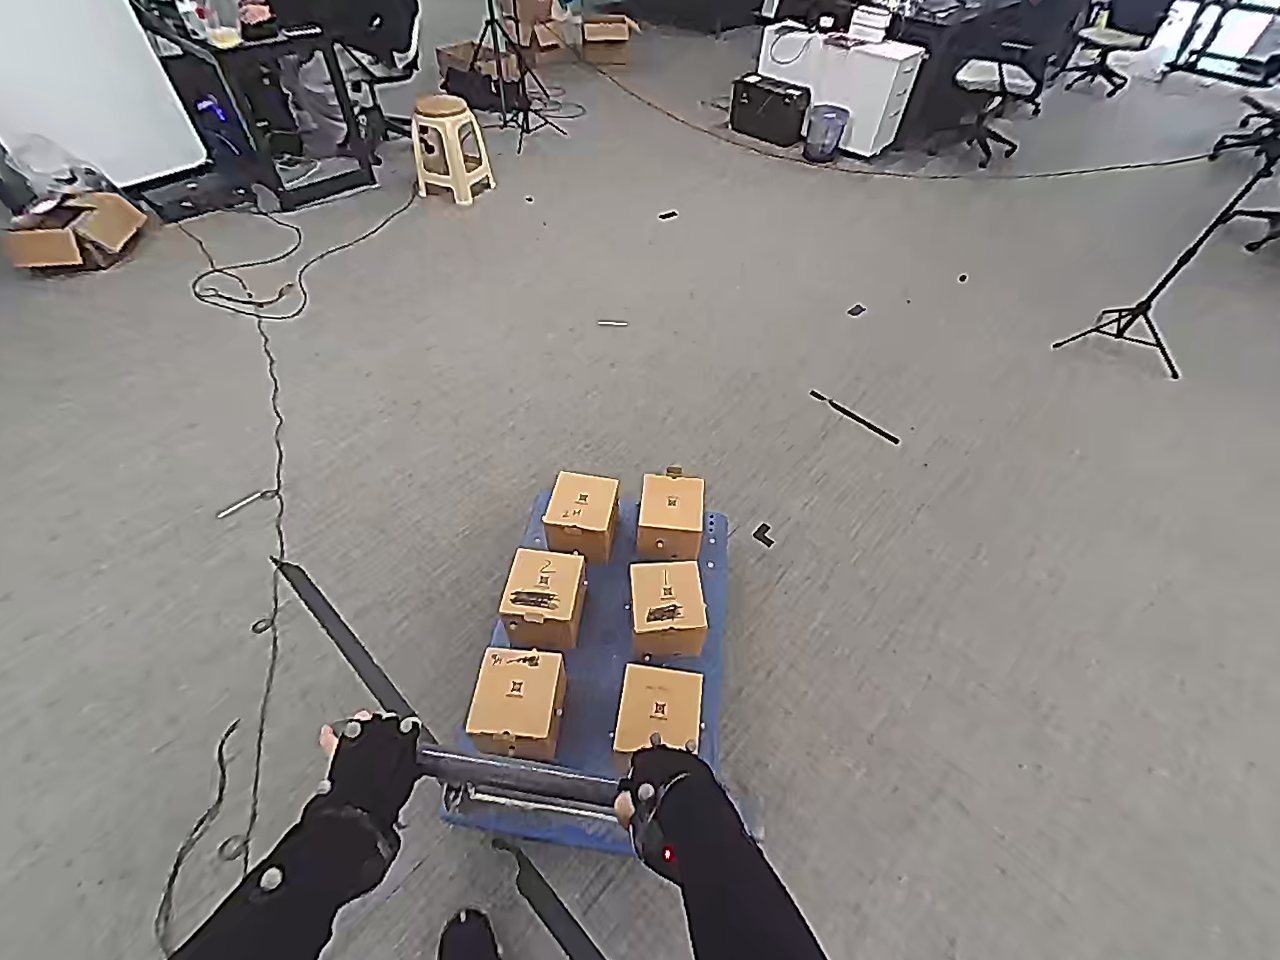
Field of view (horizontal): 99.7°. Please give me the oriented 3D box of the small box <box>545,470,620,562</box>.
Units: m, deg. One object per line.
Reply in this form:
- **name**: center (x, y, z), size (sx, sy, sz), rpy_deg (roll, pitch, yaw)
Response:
- **small box**: center (-0.153, 0.100, 1.486), size (0.168, 0.176, 0.179), rpy_deg (9, 52, 4)

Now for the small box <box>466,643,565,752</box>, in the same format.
- **small box**: center (-0.260, 0.477, 1.177), size (0.168, 0.176, 0.179), rpy_deg (6, 51, 1)

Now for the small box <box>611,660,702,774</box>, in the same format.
- **small box**: center (0.036, 0.514, 1.163), size (0.168, 0.176, 0.179), rpy_deg (8, 51, 4)

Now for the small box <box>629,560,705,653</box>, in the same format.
- **small box**: center (0.059, 0.315, 1.326), size (0.168, 0.176, 0.179), rpy_deg (-2, 50, -4)

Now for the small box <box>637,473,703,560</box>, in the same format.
- **small box**: center (0.082, 0.106, 1.498), size (0.168, 0.176, 0.179), rpy_deg (5, 51, 2)
